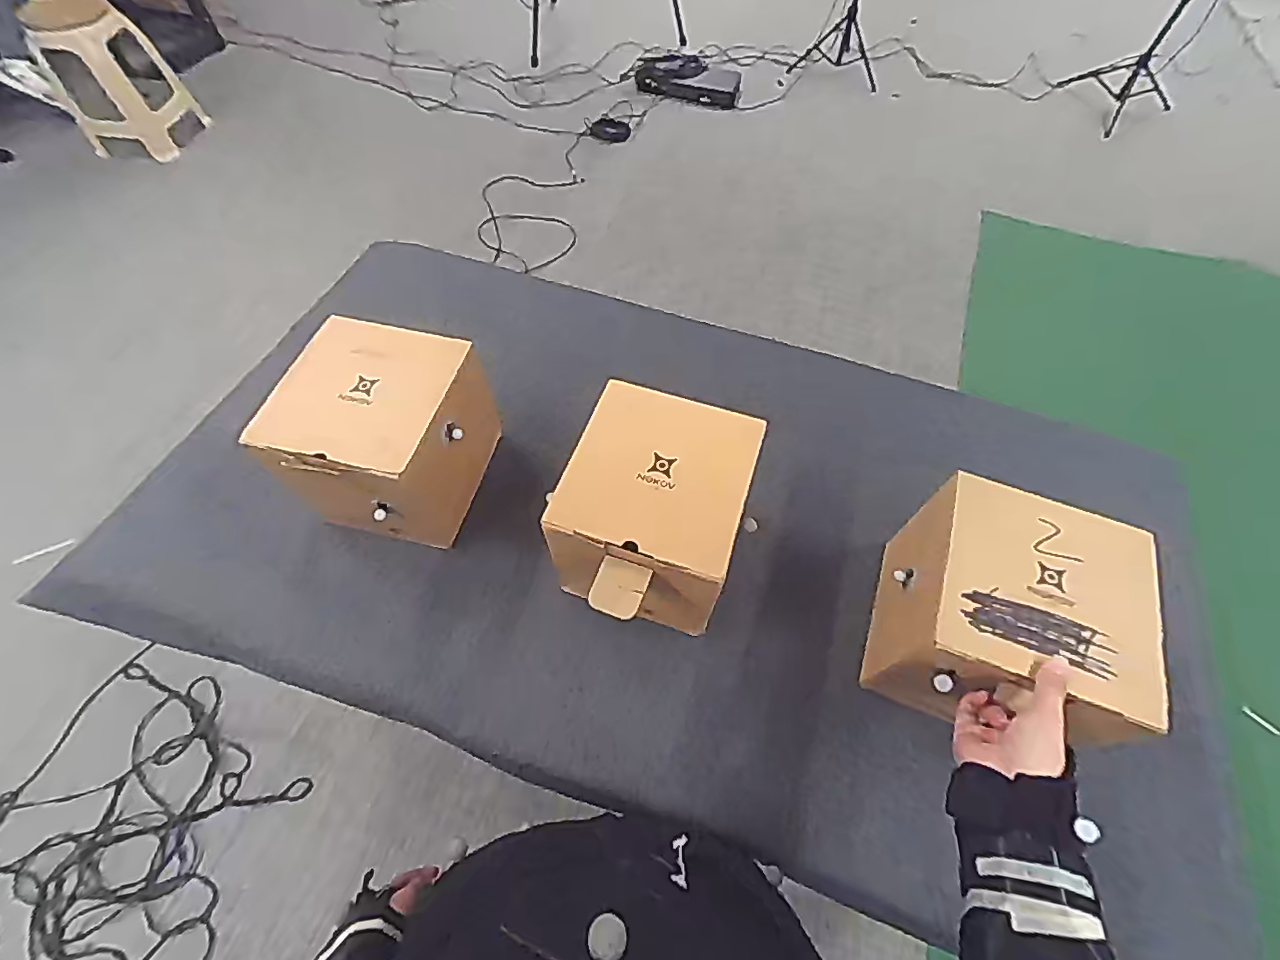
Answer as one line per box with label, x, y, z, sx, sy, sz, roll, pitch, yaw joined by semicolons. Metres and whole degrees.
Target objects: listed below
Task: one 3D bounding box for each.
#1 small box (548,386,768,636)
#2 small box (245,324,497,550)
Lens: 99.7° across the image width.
small box;0.019;0.038;0.565;0.168;0.176;0.179;17;60;9
small box;-0.275;-0.041;0.608;0.168;0.176;0.179;12;58;5
